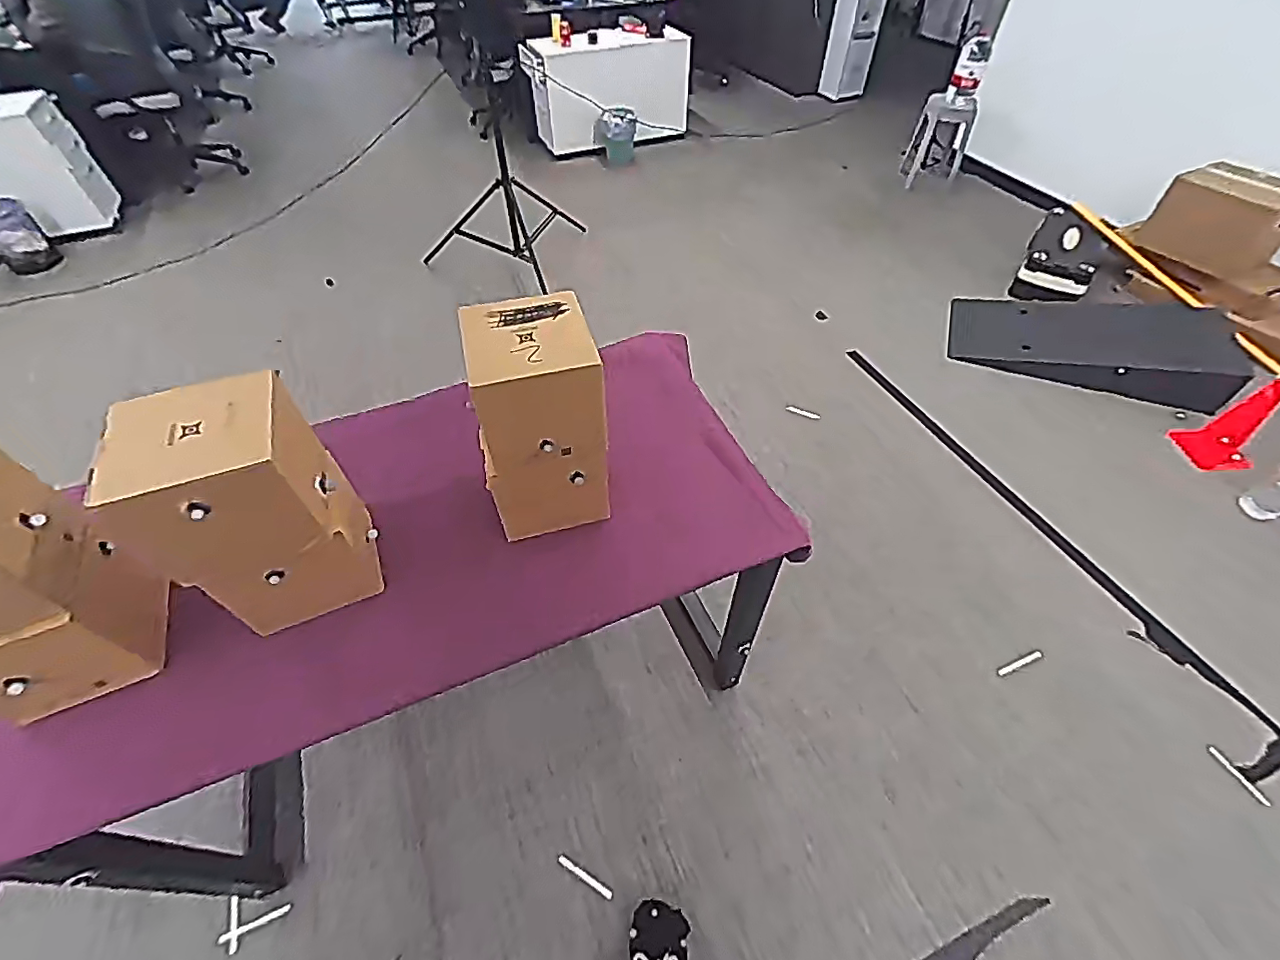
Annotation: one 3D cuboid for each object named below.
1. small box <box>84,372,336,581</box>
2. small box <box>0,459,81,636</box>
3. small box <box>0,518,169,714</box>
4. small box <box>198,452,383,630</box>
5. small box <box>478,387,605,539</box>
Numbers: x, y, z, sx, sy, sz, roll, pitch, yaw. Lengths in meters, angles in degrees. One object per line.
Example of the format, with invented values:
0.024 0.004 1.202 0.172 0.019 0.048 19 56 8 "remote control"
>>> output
-0.504 0.000 0.666 0.179 0.176 0.168 -17 54 -15 "small box"
-0.785 0.080 0.598 0.179 0.176 0.168 -22 53 -18 "small box"
-0.777 0.188 0.721 0.168 0.176 0.179 -21 53 -17 "small box"
-0.508 0.093 0.798 0.179 0.176 0.168 -20 53 -16 "small box"
-0.157 -0.026 0.895 0.179 0.176 0.168 -13 51 -10 "small box"
